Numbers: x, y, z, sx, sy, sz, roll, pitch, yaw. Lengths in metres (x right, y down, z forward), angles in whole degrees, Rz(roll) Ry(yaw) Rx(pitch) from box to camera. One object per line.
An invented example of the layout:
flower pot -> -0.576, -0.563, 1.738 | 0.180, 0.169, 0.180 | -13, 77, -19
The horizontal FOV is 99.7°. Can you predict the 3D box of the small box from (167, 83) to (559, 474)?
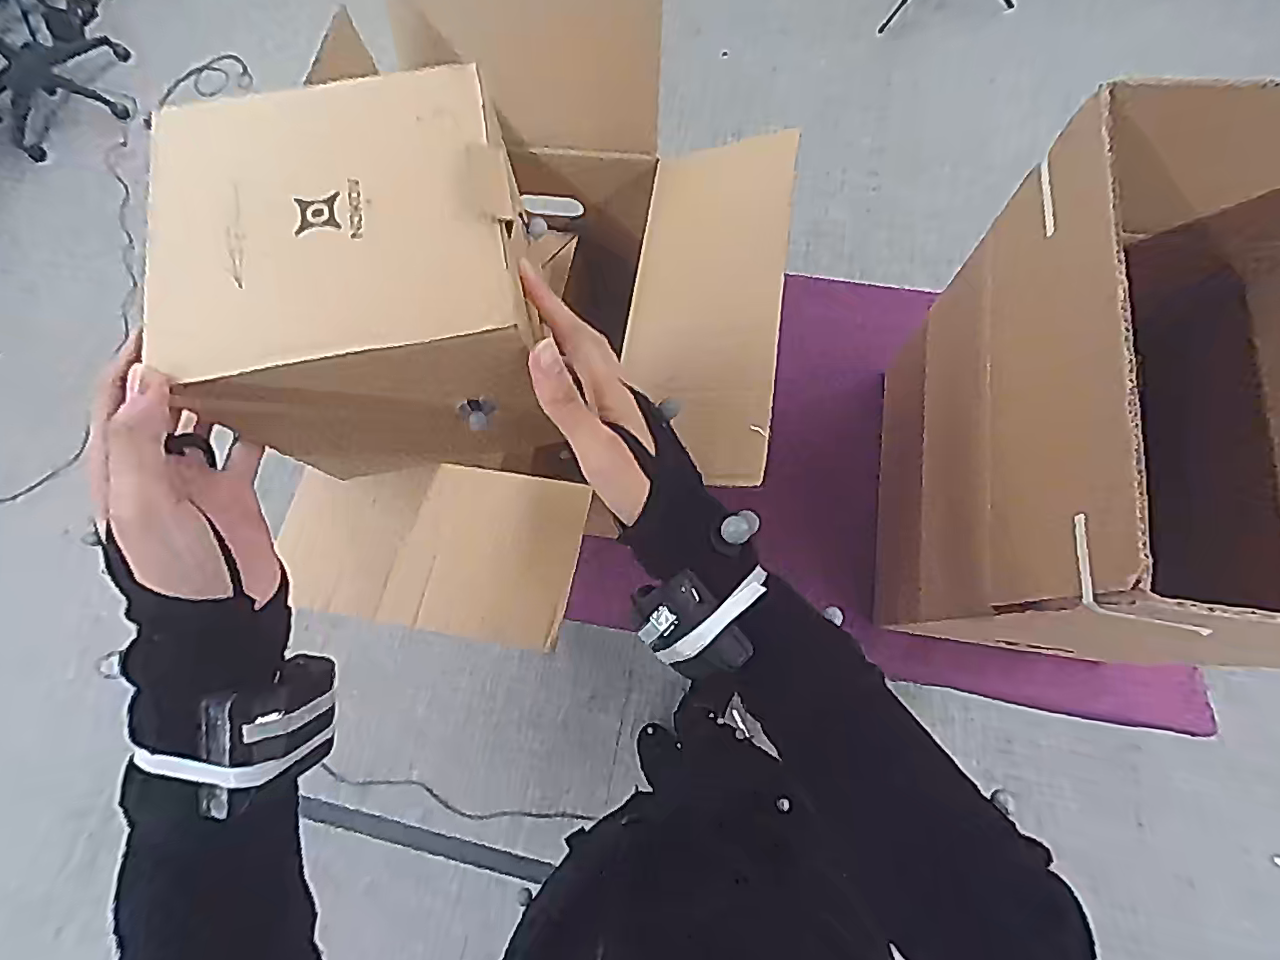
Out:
small box -> -0.154, -0.113, 0.361 | 0.179, 0.176, 0.168 | -10, 74, -1
